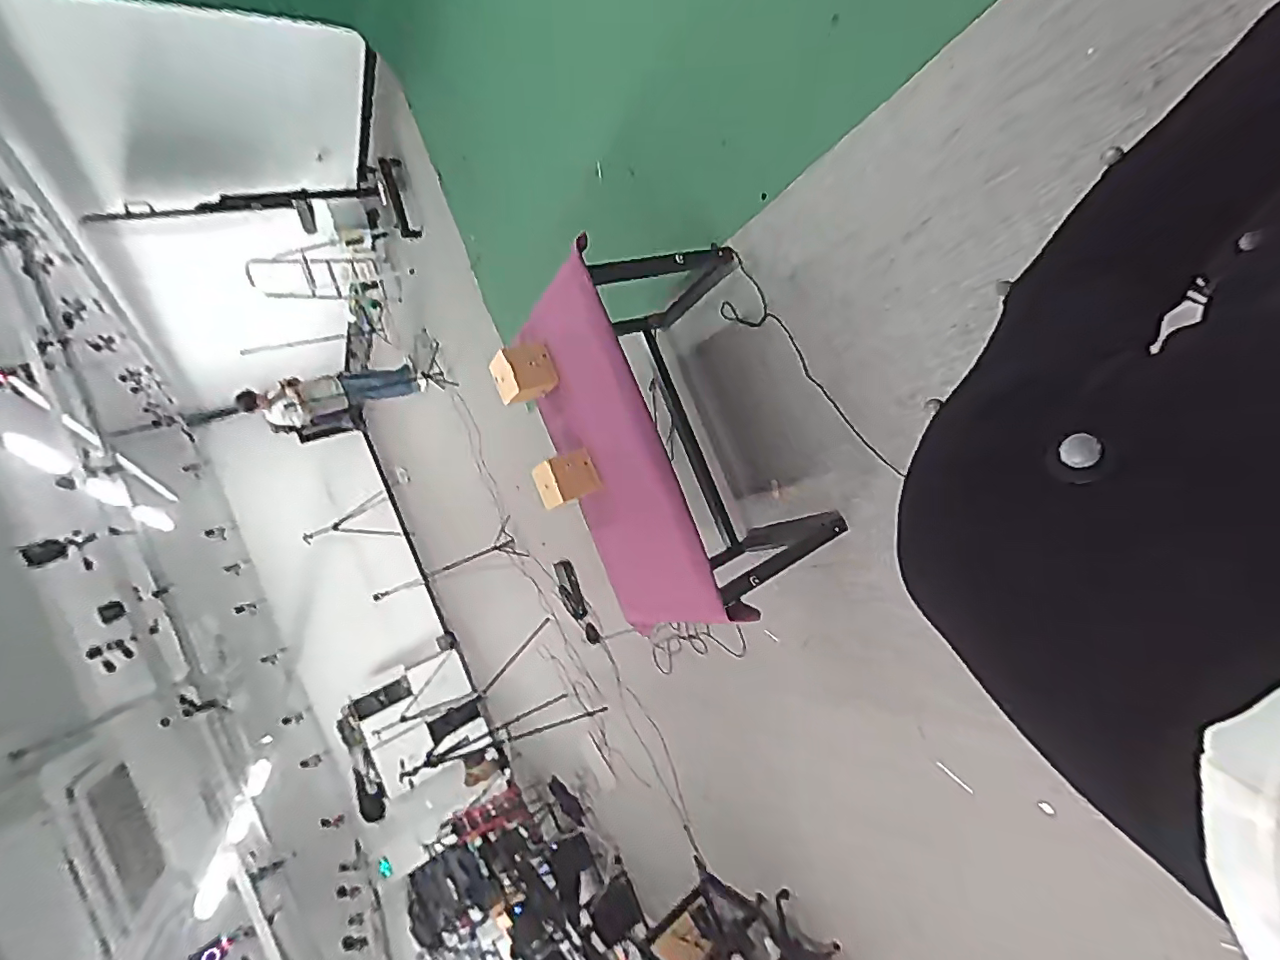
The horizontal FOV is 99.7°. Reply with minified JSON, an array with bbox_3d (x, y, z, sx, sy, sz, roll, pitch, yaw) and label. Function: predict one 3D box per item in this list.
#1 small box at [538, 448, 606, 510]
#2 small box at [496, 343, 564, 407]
[{"bbox_3d":[-0.247,-0.004,2.002,0.179,0.176,0.168,-25,87,58],"label":"small box"},{"bbox_3d":[-0.402,-0.391,1.997,0.179,0.176,0.168,-22,90,58],"label":"small box"}]
